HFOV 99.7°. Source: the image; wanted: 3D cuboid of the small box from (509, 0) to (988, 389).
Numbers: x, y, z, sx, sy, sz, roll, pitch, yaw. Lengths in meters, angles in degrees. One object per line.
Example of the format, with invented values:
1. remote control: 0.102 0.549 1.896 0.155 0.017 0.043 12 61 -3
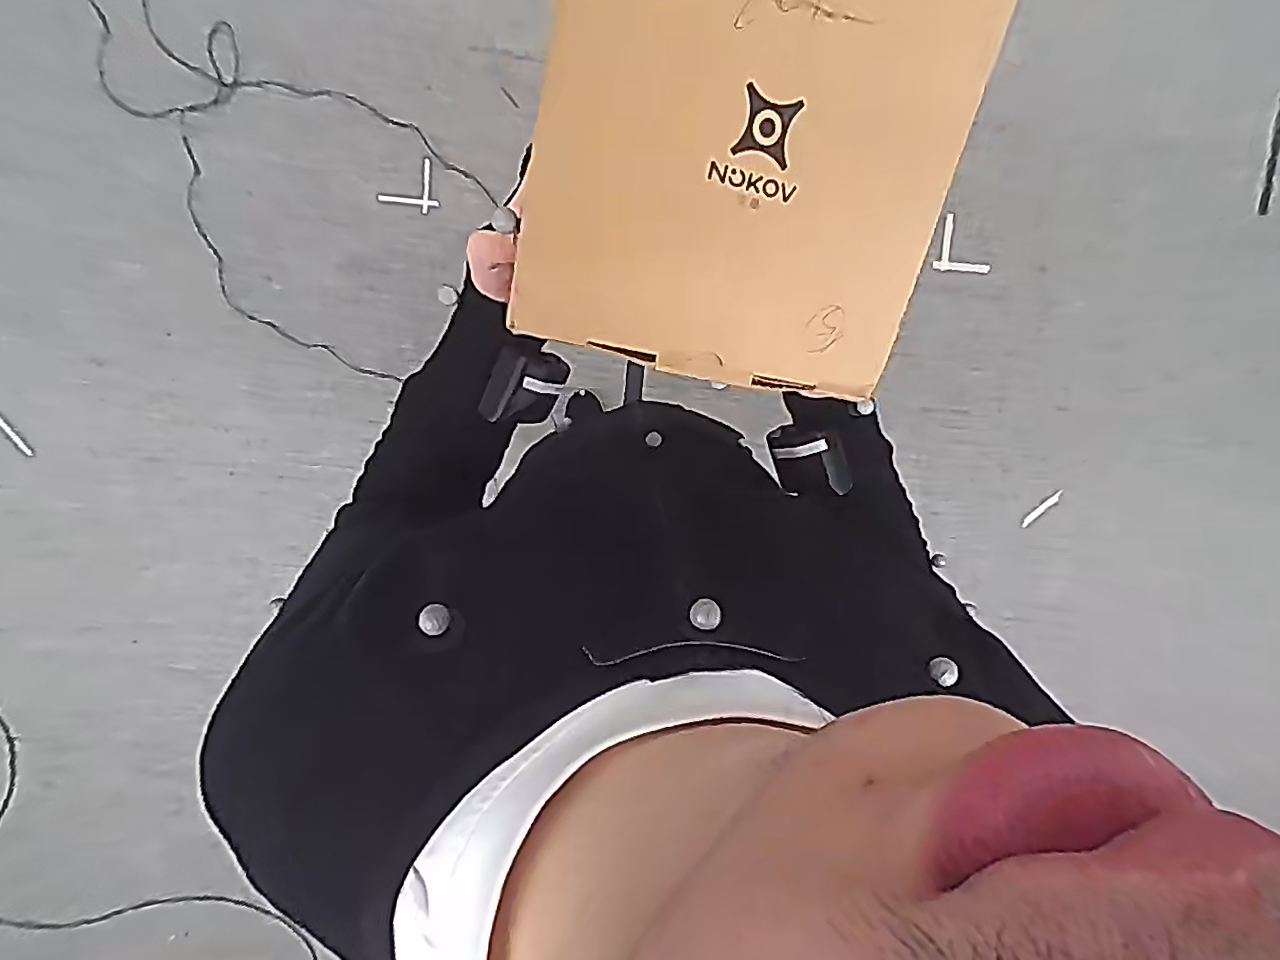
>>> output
1. small box: 0.027 -0.161 0.286 0.168 0.176 0.179 7 108 -15
